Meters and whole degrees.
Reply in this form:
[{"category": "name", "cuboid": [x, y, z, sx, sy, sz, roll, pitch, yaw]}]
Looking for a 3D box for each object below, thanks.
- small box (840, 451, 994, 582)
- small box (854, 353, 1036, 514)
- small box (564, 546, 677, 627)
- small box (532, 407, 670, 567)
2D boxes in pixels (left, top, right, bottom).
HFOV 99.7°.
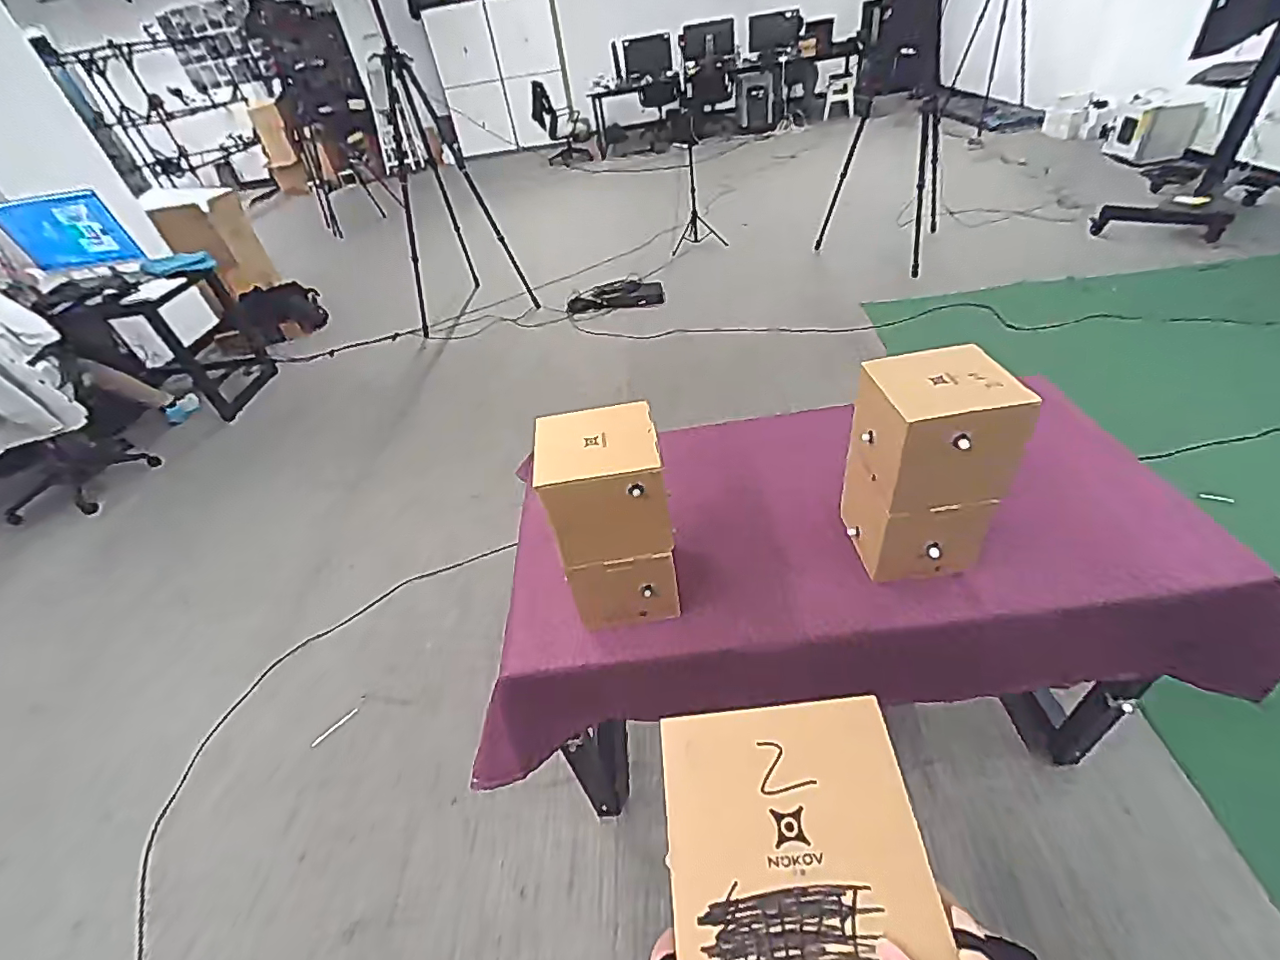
[{"category": "small box", "cuboid": [0.453, 0.057, 0.918, 0.168, 0.176, 0.179, -7, 41, 3]}, {"category": "small box", "cuboid": [0.434, -0.066, 0.810, 0.179, 0.176, 0.168, -8, 41, 2]}, {"category": "small box", "cuboid": [-0.031, 0.136, 0.926, 0.168, 0.176, 0.179, -8, 40, 1]}, {"category": "small box", "cuboid": [-0.055, 0.013, 0.821, 0.179, 0.176, 0.168, -9, 40, -1]}]
